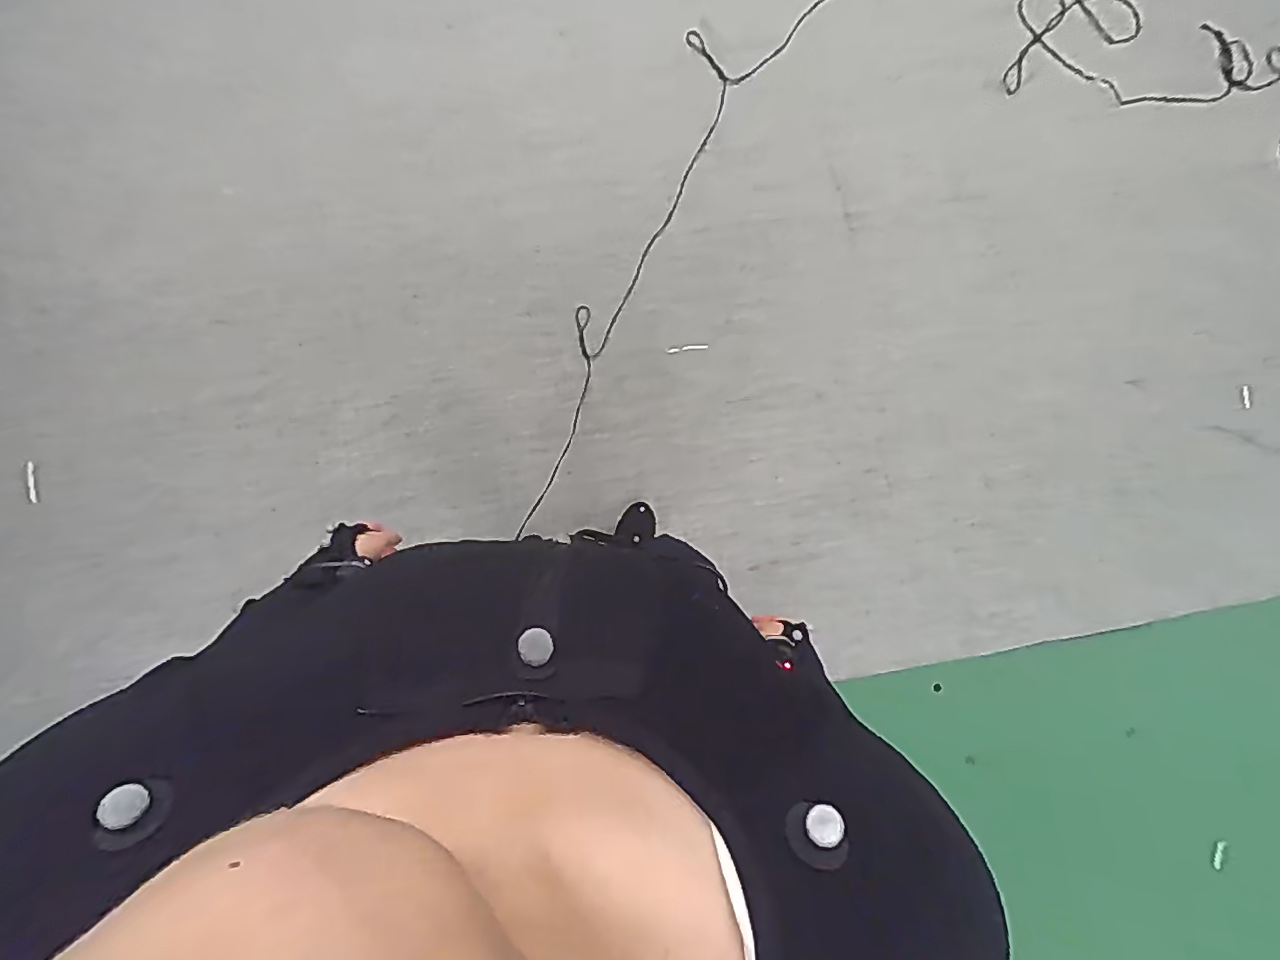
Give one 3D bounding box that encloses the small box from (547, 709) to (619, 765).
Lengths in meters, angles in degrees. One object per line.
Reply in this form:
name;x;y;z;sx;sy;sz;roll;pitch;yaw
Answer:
small box;-0.136;0.683;1.321;0.168;0.176;0.179;-3;86;-6
